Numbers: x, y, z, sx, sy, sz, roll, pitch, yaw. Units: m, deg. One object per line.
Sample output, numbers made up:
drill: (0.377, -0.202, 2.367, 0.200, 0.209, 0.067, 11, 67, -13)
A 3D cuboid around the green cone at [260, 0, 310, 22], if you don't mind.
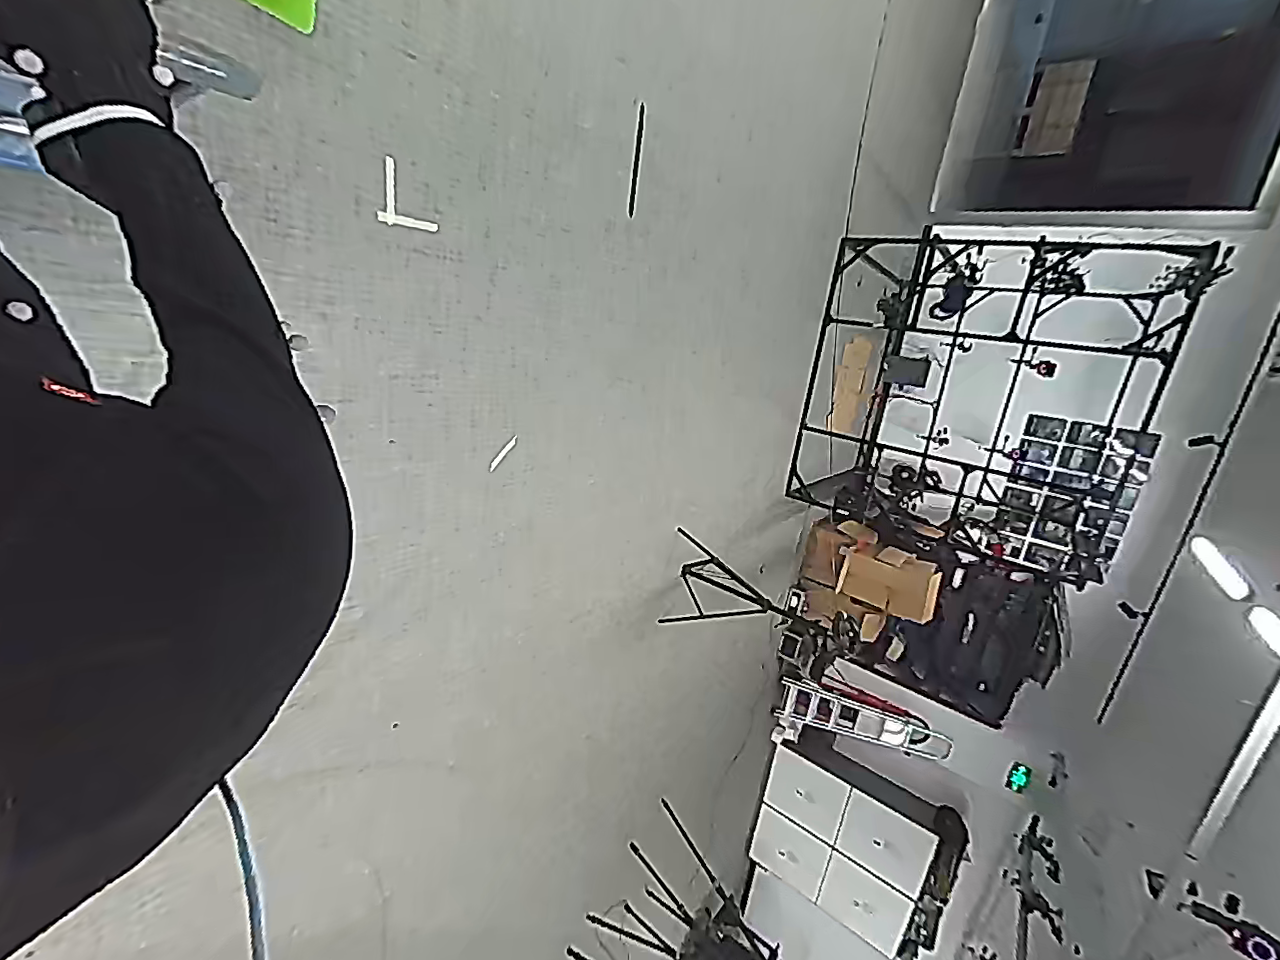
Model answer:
green cone: (-0.625, -1.029, 0.988, 0.202, 0.368, 0.200, -7, 112, -55)
